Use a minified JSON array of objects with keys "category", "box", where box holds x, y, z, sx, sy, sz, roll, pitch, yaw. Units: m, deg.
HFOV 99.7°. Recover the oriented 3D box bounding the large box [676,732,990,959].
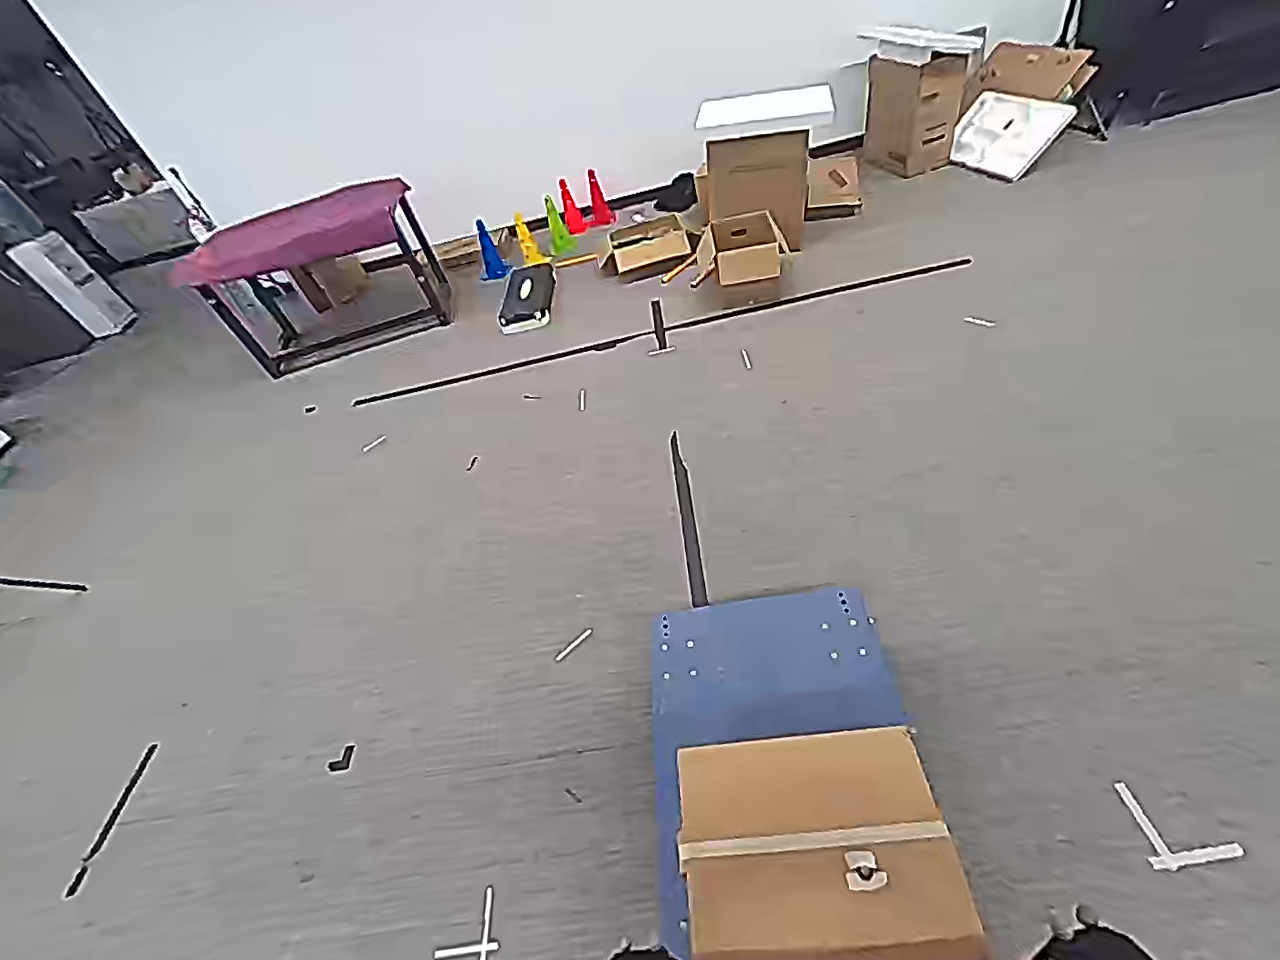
[{"category":"large box","box":[0.291,0.675,0.939,0.408,0.320,0.320,-9,45,6]}]
